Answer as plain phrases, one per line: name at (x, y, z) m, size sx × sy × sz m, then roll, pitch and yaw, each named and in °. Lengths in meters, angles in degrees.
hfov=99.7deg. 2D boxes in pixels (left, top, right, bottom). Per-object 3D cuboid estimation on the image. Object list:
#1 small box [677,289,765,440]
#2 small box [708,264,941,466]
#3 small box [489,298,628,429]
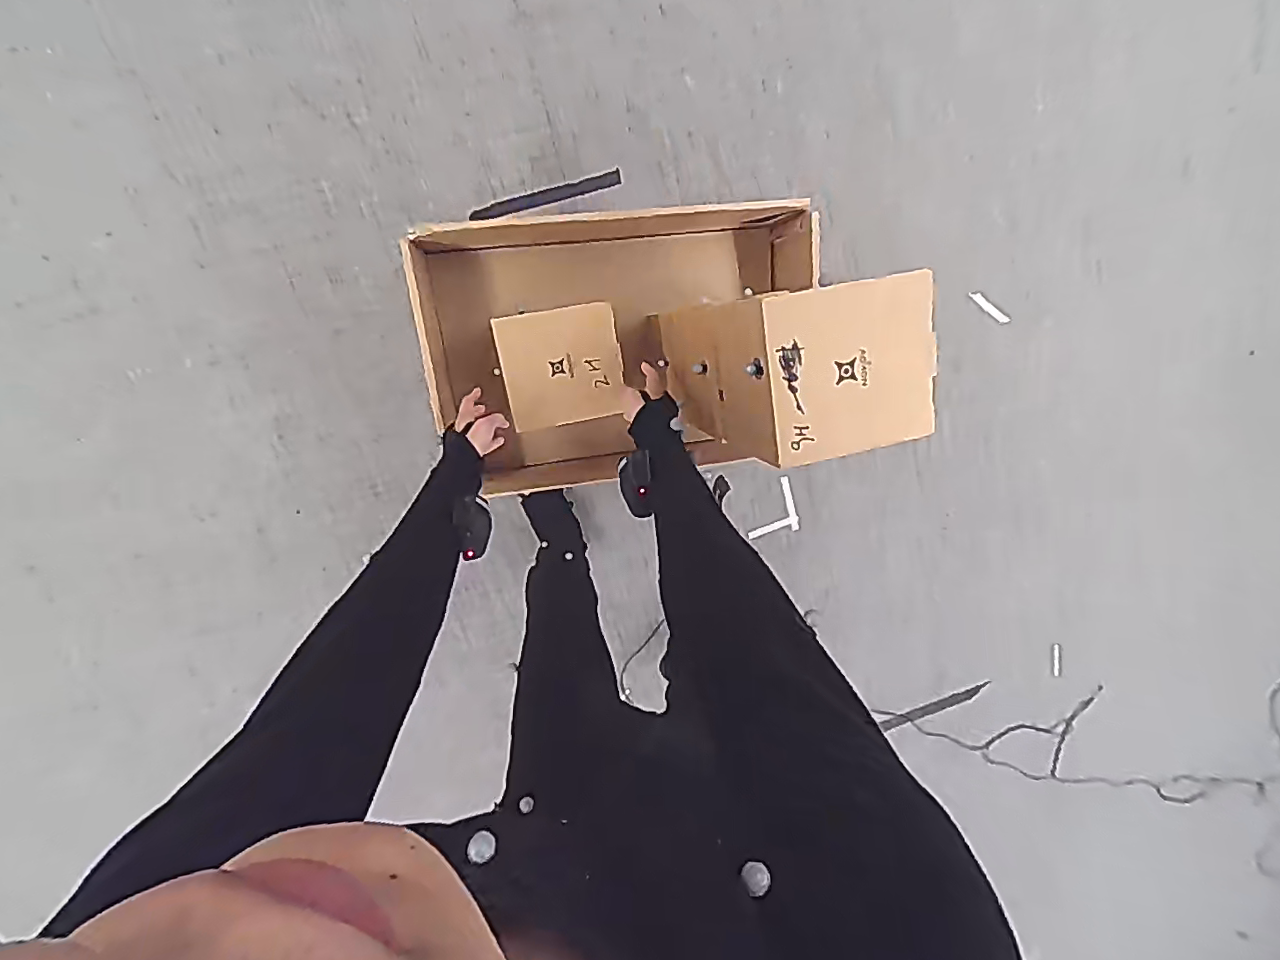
small box at (0.156, -0.165, 0.739) m, size 0.168 × 0.176 × 0.179 m, roll -11°, pitch 106°, yaw -9°
small box at (0.190, -0.127, 0.583) m, size 0.179 × 0.176 × 0.168 m, roll -13°, pitch 106°, yaw -9°
small box at (-0.127, -0.184, 0.846) m, size 0.179 × 0.176 × 0.168 m, roll -12°, pitch 107°, yaw -9°
